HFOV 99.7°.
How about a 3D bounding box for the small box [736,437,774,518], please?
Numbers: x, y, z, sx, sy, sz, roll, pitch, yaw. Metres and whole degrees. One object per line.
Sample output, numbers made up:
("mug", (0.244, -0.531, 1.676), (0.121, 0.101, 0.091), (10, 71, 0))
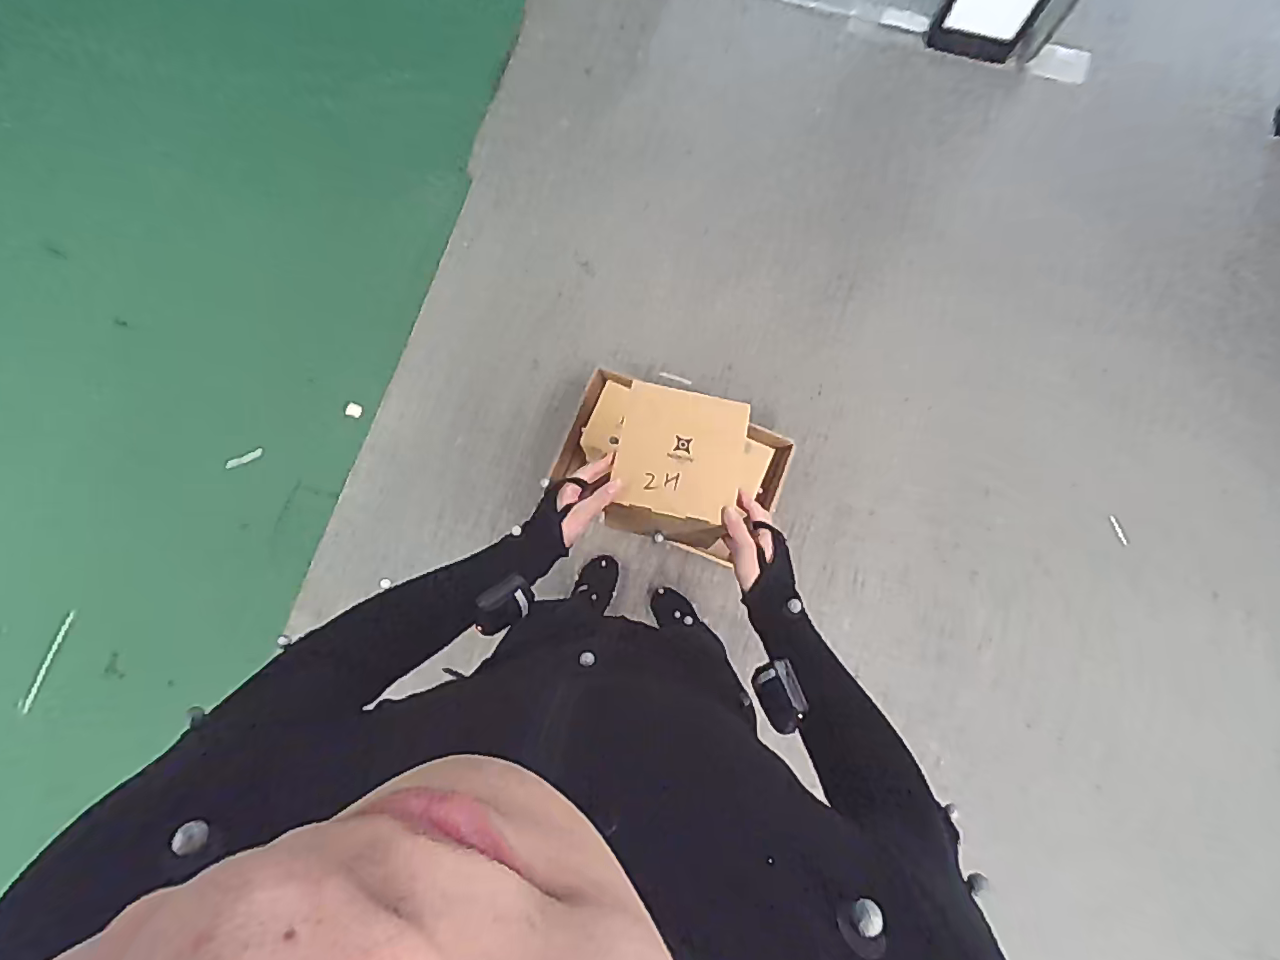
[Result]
("small box", (0.218, -0.016, 1.369), (0.168, 0.176, 0.179), (24, 81, 6))

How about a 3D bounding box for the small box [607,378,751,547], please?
("small box", (0.047, -0.016, 0.770), (0.168, 0.176, 0.179), (11, 73, -1))

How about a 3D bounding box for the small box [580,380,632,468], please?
("small box", (-0.041, -0.126, 1.393), (0.168, 0.176, 0.179), (22, 81, 3))
